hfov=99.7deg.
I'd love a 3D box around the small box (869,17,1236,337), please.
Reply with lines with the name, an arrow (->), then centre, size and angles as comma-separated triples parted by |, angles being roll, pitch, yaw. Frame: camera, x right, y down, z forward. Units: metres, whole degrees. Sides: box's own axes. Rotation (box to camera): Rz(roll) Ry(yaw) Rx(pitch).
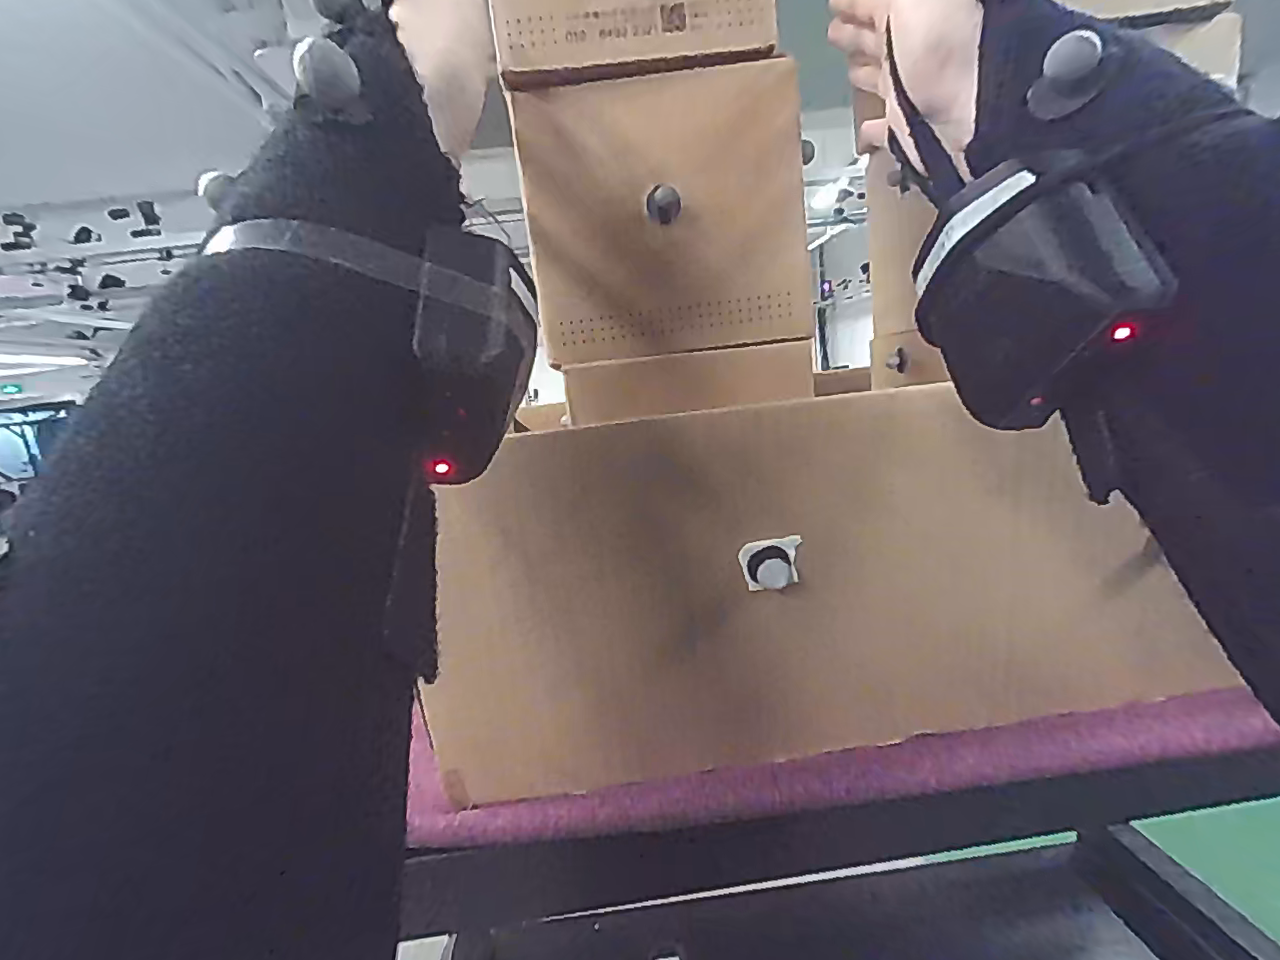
small box -> 0.302, -0.213, 0.435 | 0.168, 0.176, 0.179 | -8, 10, 0

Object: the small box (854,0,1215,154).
small box -> 0.269, -0.369, 0.402 | 0.168, 0.176, 0.179 | -7, 11, 1
